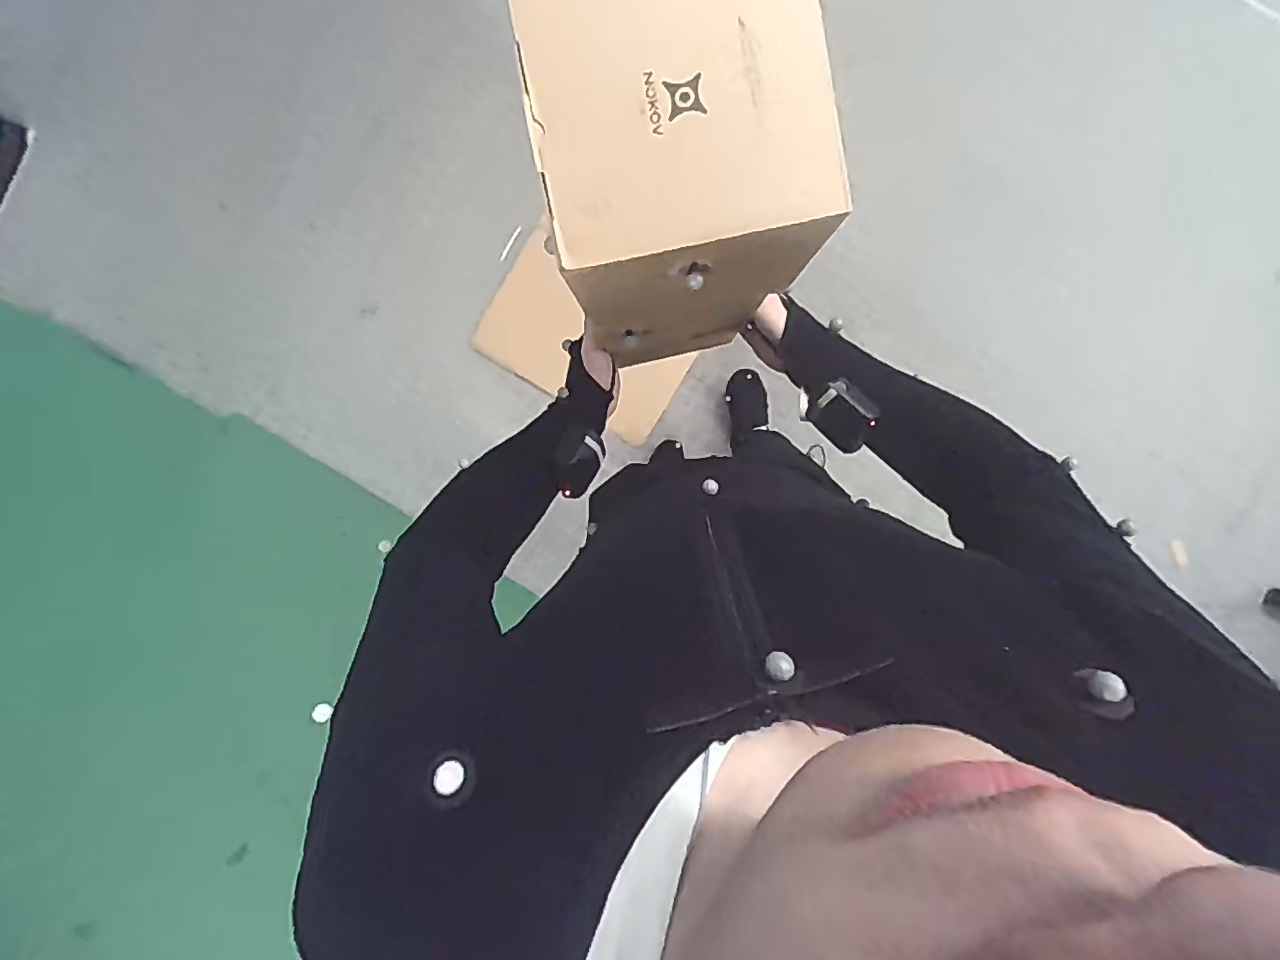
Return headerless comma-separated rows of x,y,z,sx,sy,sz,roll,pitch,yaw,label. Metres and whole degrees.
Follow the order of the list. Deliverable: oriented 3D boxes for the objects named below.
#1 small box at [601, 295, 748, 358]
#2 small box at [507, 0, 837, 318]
0.033,-0.269,0.720,0.179,0.176,0.168,-11,93,3,small box
0.023,-0.228,0.395,0.179,0.176,0.168,-9,94,3,small box
